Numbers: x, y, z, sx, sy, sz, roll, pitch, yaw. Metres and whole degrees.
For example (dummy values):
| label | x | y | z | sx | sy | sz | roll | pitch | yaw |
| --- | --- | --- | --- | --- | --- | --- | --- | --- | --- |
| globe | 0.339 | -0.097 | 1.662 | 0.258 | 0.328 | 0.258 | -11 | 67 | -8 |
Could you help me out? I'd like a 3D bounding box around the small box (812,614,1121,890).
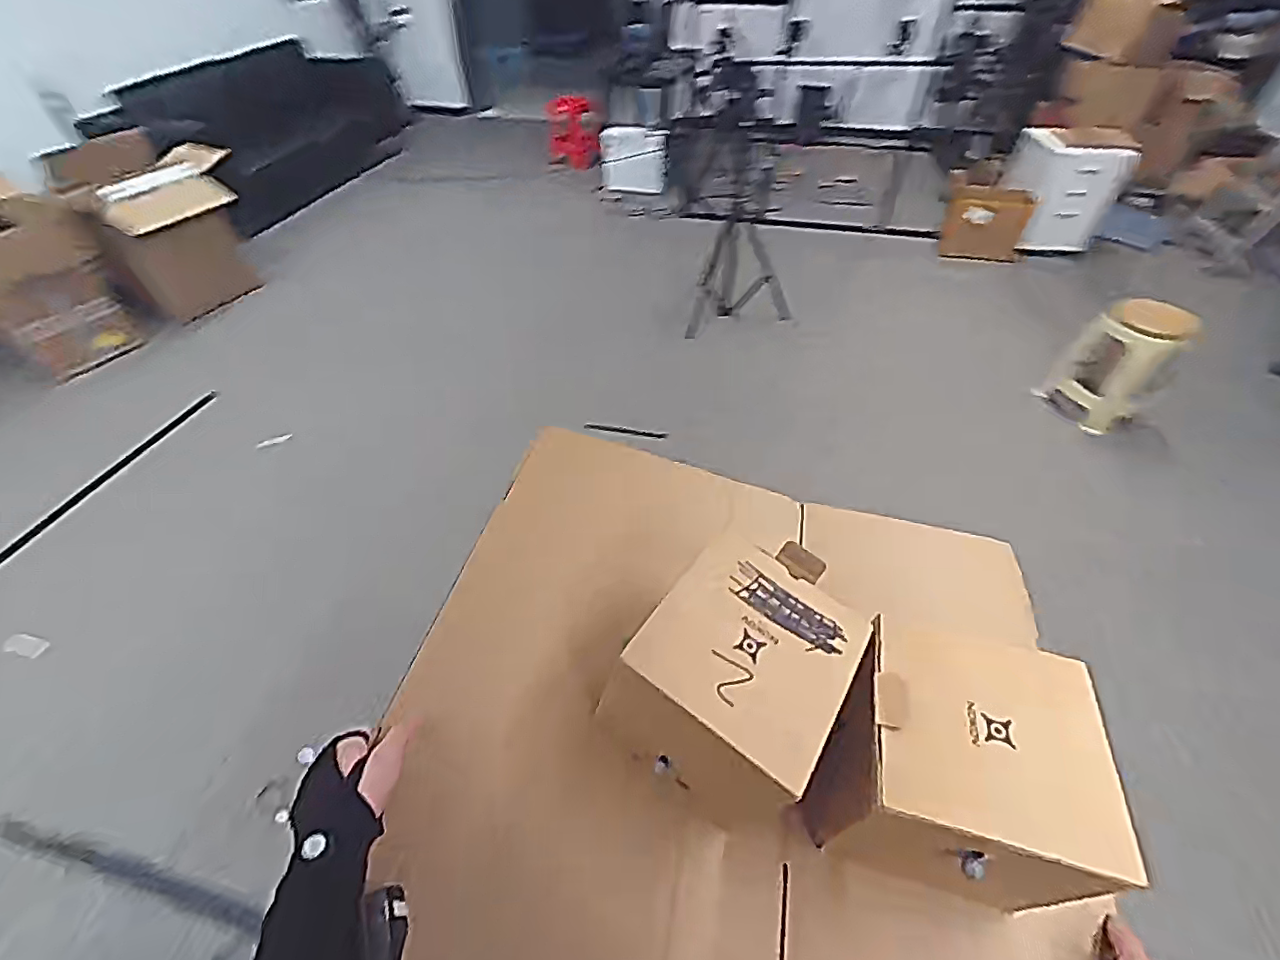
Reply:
| label | x | y | z | sx | sy | sz | roll | pitch | yaw |
| --- | --- | --- | --- | --- | --- | --- | --- | --- | --- |
| small box | 0.273 | 0.255 | 0.502 | 0.179 | 0.176 | 0.168 | 12 | 48 | 9 |
